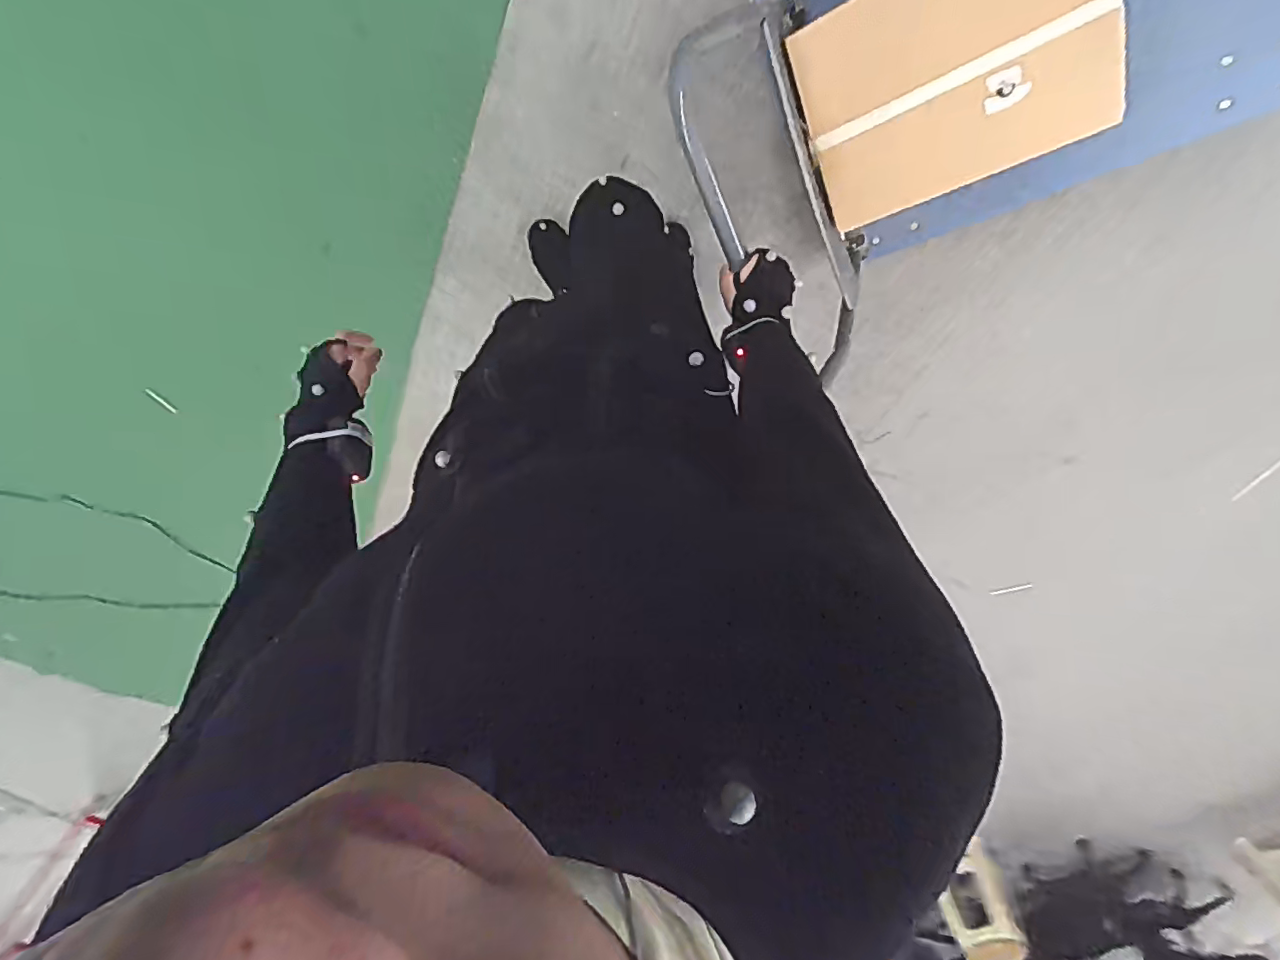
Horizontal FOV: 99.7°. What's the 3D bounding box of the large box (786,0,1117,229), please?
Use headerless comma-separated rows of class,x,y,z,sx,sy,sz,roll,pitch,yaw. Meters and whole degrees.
large box,0.501,-0.699,0.926,0.408,0.320,0.320,-13,123,29
